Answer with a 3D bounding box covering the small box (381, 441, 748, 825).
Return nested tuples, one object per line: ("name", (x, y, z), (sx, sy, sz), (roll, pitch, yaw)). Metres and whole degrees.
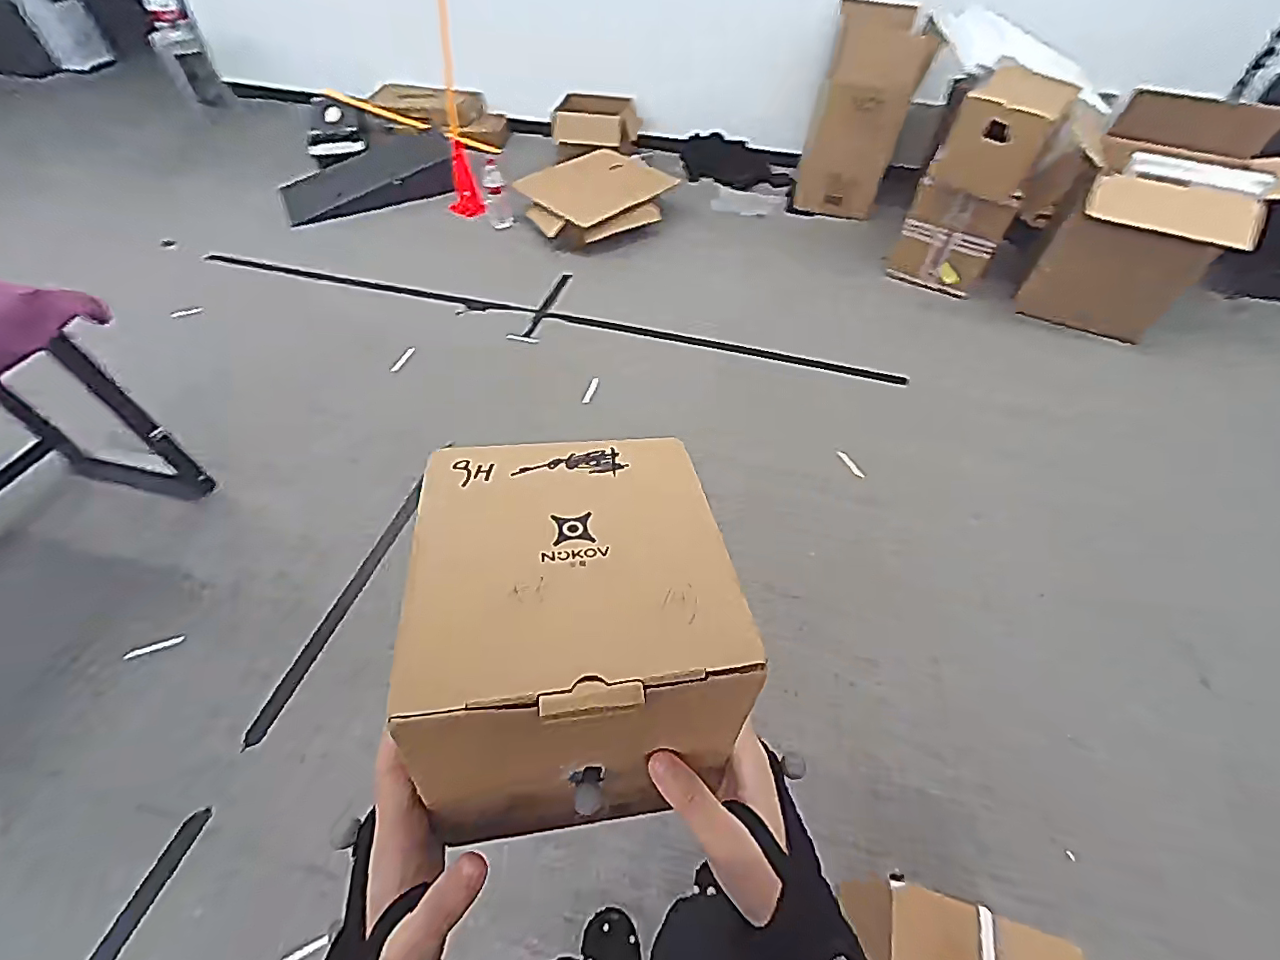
("small box", (-0.048, 0.097, 0.348), (0.168, 0.176, 0.179), (-4, 42, -11))
